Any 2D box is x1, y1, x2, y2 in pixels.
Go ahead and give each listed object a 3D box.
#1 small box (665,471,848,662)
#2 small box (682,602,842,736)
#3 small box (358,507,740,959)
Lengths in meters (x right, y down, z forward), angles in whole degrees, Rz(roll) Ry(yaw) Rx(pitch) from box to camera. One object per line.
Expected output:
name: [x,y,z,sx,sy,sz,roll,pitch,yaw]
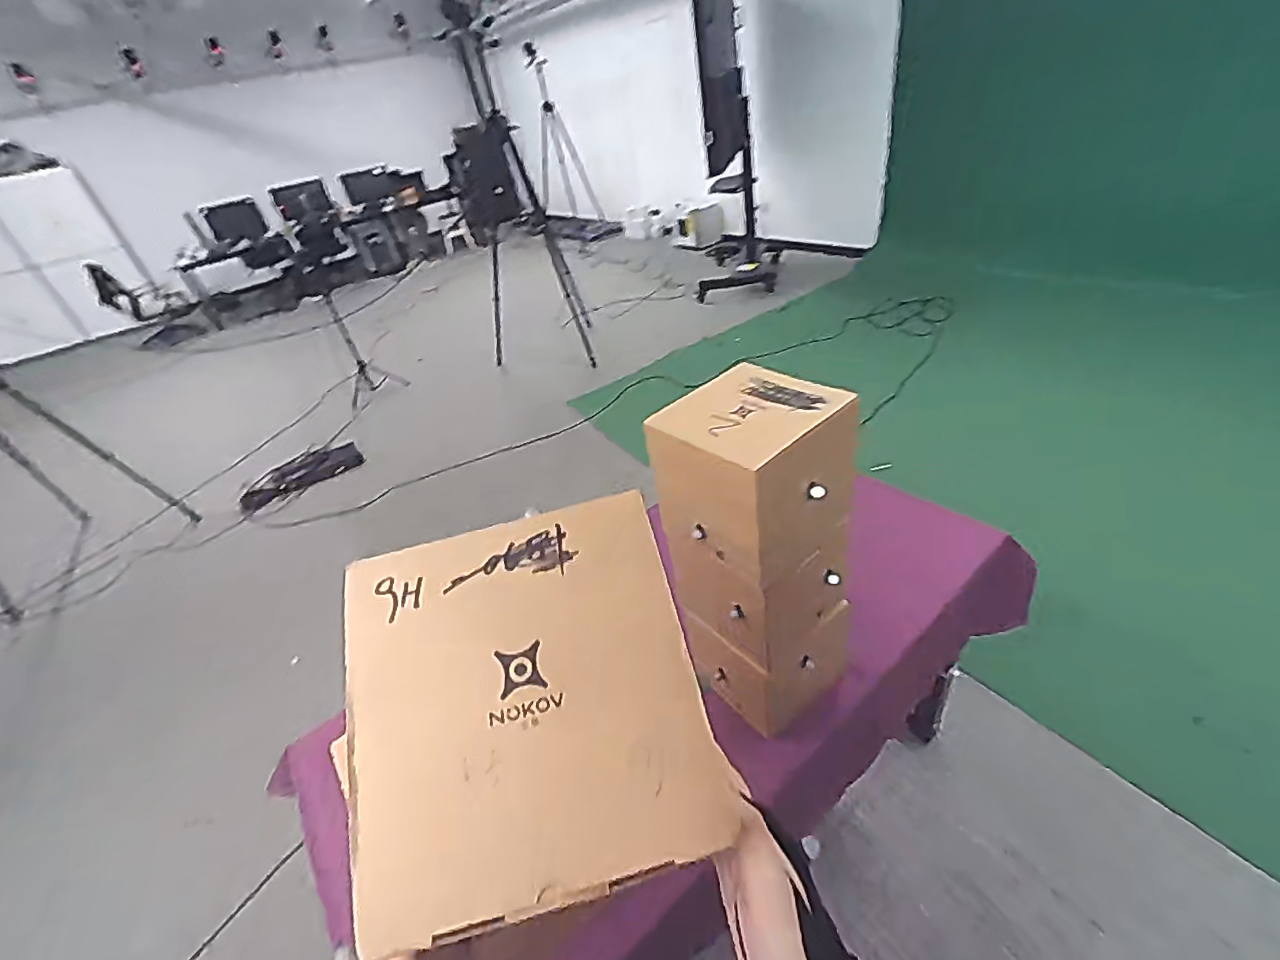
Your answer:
small box: [0.161,0.121,0.747,0.168,0.176,0.179,-31,39,-26]
small box: [0.191,0.253,0.838,0.179,0.176,0.168,-30,40,-24]
small box: [-0.050,0.141,0.333,0.168,0.176,0.179,-13,65,-5]
